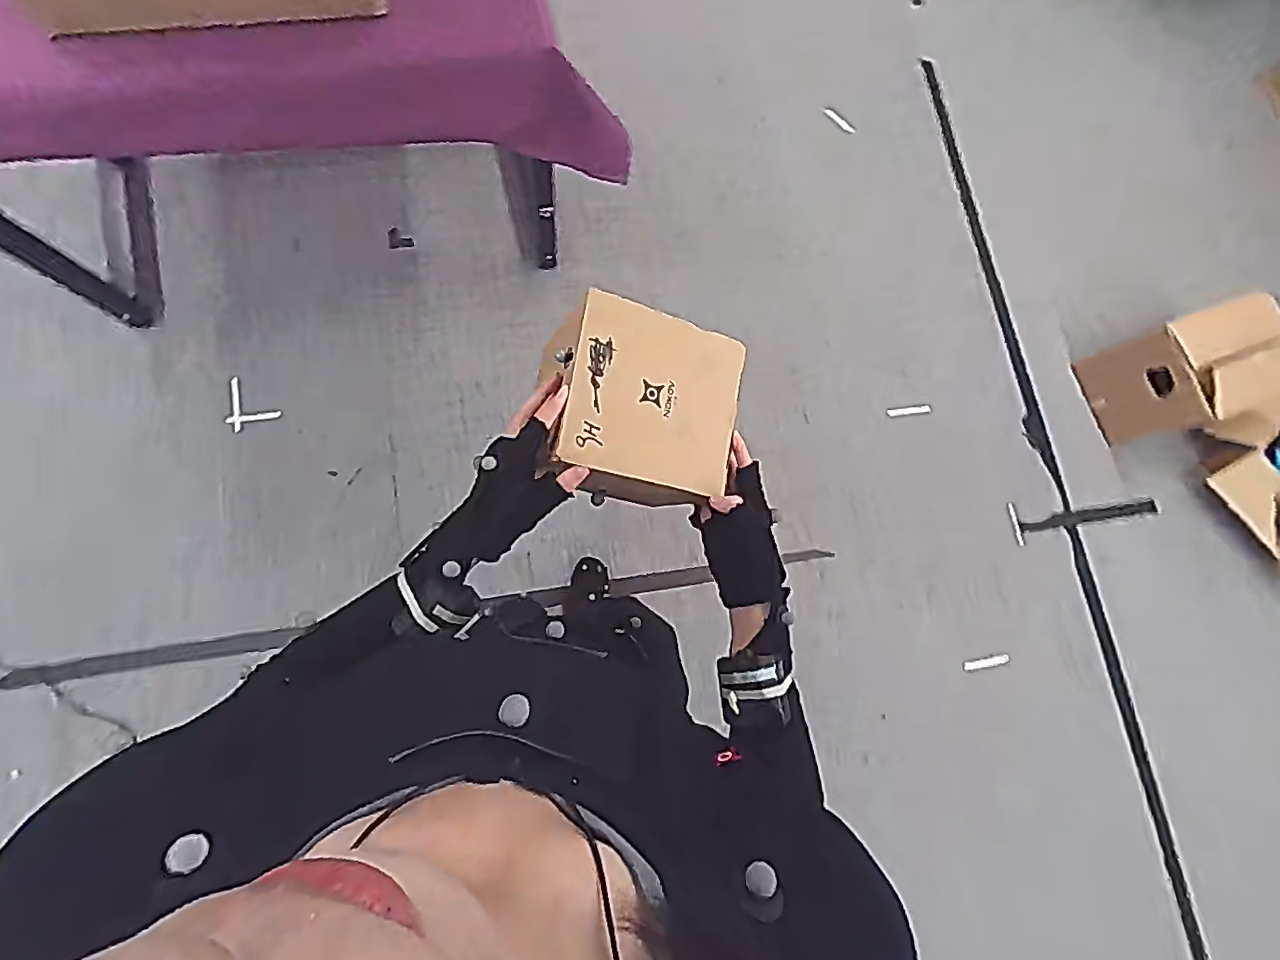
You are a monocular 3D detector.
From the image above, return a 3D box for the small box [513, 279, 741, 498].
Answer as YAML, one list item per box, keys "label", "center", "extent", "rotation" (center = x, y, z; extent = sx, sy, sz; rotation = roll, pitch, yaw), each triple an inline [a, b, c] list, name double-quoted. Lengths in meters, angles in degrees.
- label: "small box"
  center: [-0.020, -0.078, 0.577]
  extent: [0.179, 0.176, 0.168]
  rotation: [13, 78, -24]
